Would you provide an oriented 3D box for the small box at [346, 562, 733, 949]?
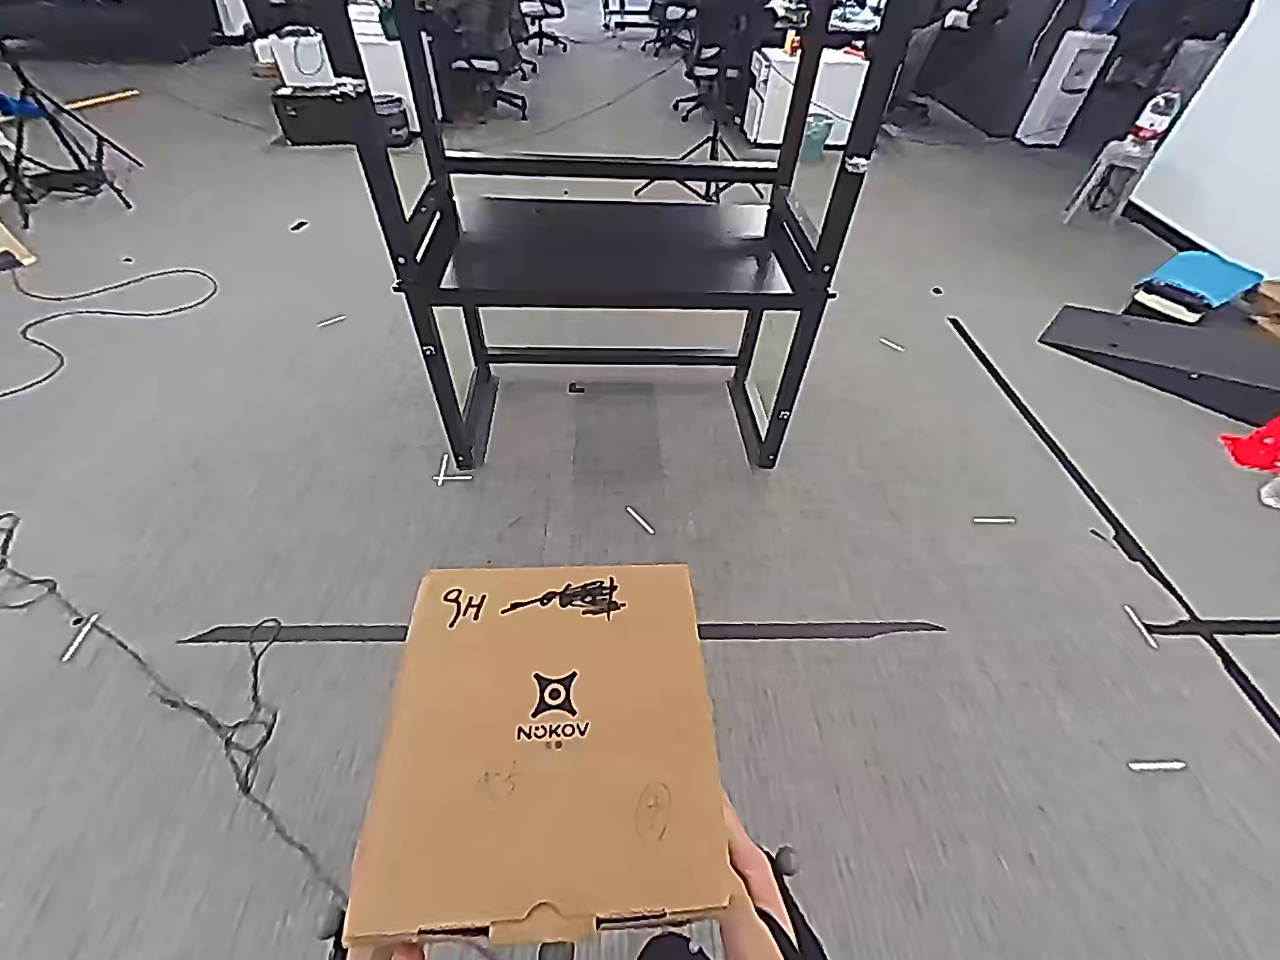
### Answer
[{"bbox_3d":[-0.048,0.169,0.338,0.168,0.176,0.179,0,50,-5],"label":"small box"}]
